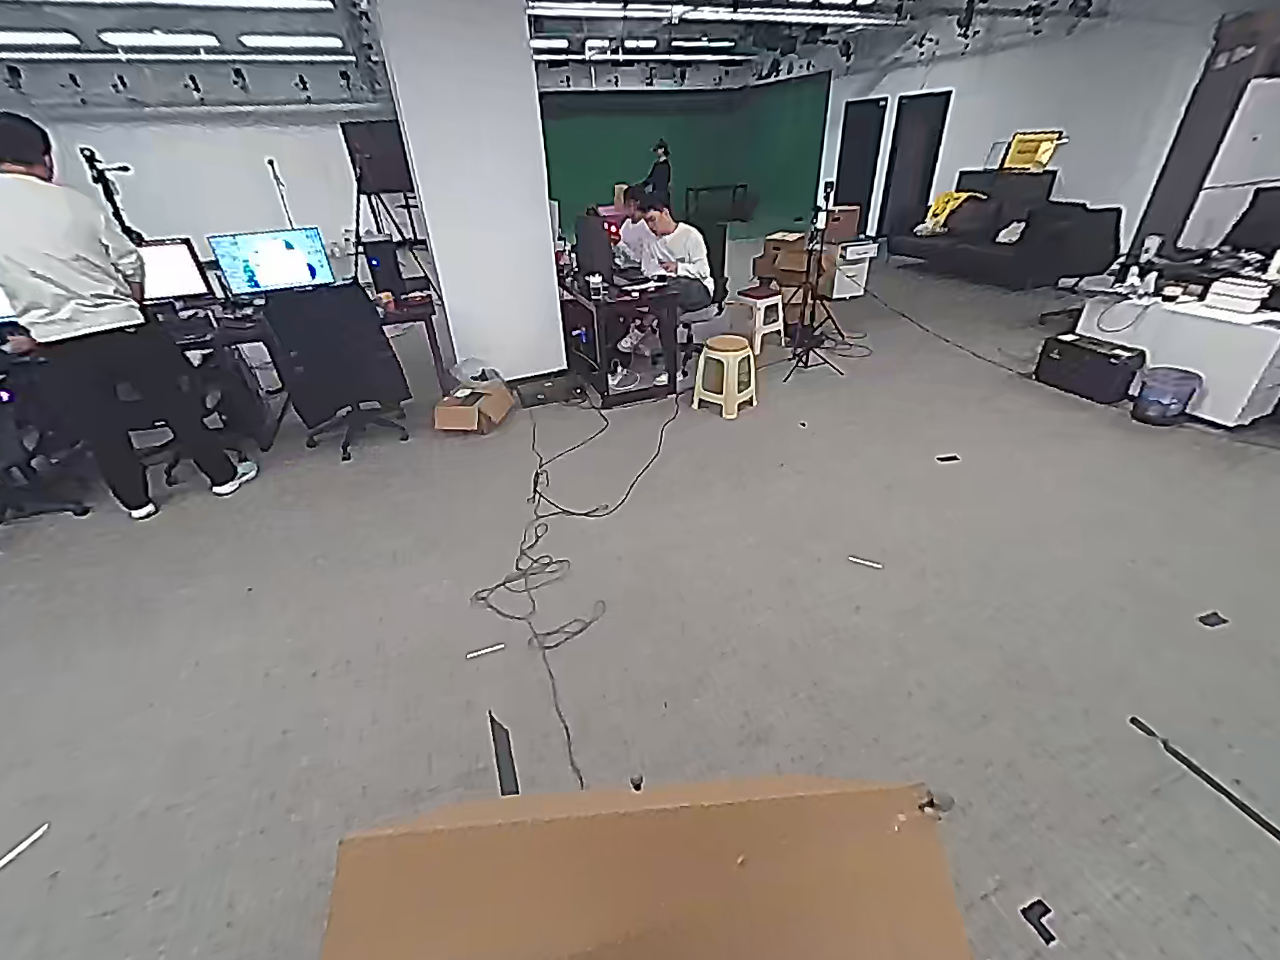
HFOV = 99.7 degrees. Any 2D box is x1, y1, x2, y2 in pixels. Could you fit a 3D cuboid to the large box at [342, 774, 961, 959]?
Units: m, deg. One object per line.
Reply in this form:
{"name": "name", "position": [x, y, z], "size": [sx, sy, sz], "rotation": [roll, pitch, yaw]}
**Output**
{"name": "large box", "position": [0.010, 0.440, 0.448], "size": [0.408, 0.320, 0.320], "rotation": [-3, 64, -4]}
